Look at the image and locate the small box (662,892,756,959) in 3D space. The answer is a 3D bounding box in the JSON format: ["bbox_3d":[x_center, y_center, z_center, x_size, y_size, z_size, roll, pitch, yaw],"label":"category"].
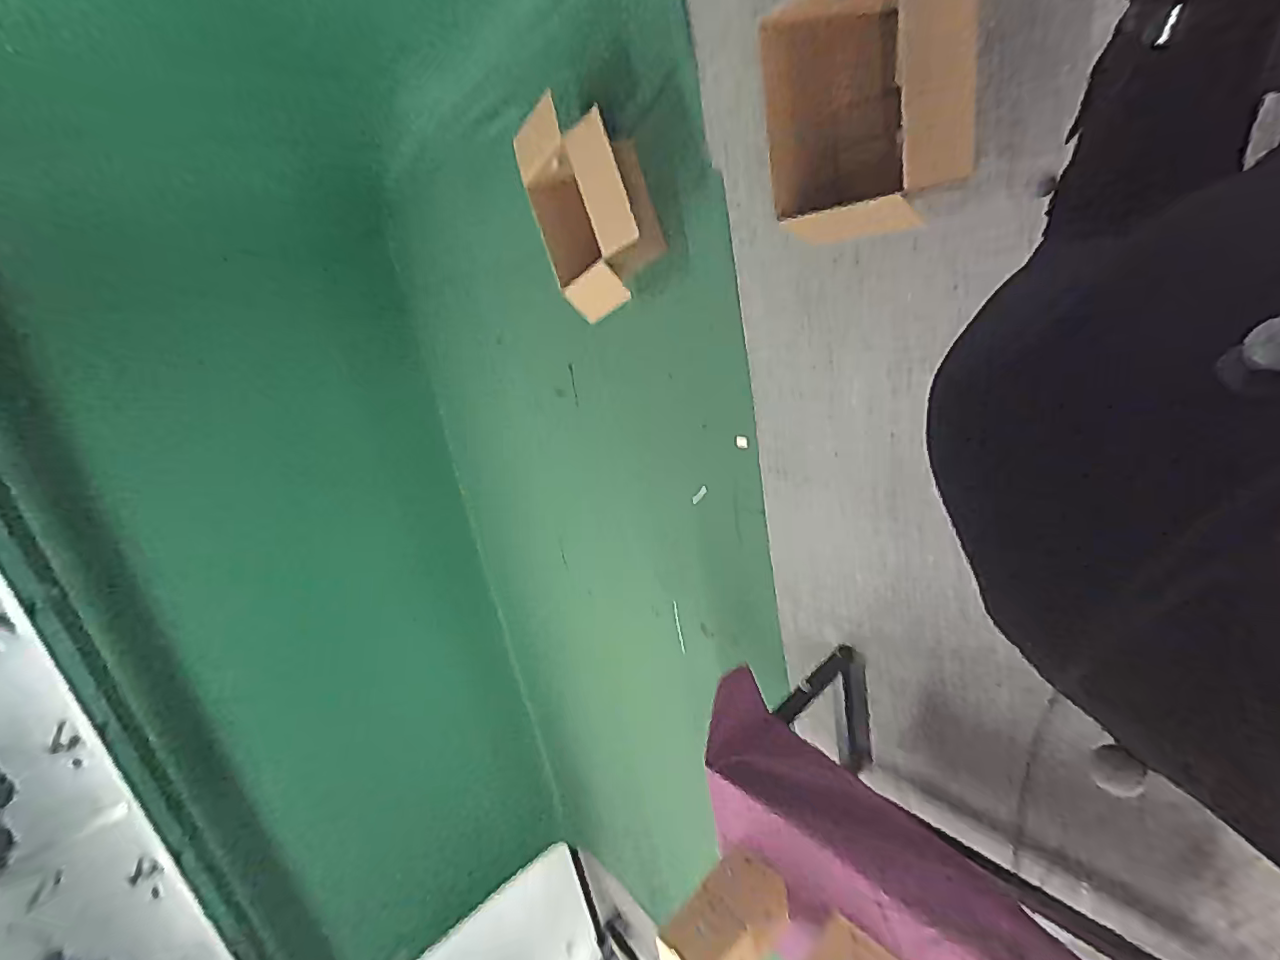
[{"bbox_3d":[0.181,1.211,1.369,0.168,0.176,0.179,12,117,50],"label":"small box"}]

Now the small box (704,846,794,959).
[{"bbox_3d":[0.299,1.157,1.470,0.168,0.176,0.179,11,118,49],"label":"small box"}]

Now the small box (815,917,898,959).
[{"bbox_3d":[0.498,1.154,1.218,0.168,0.176,0.179,7,115,50],"label":"small box"}]
